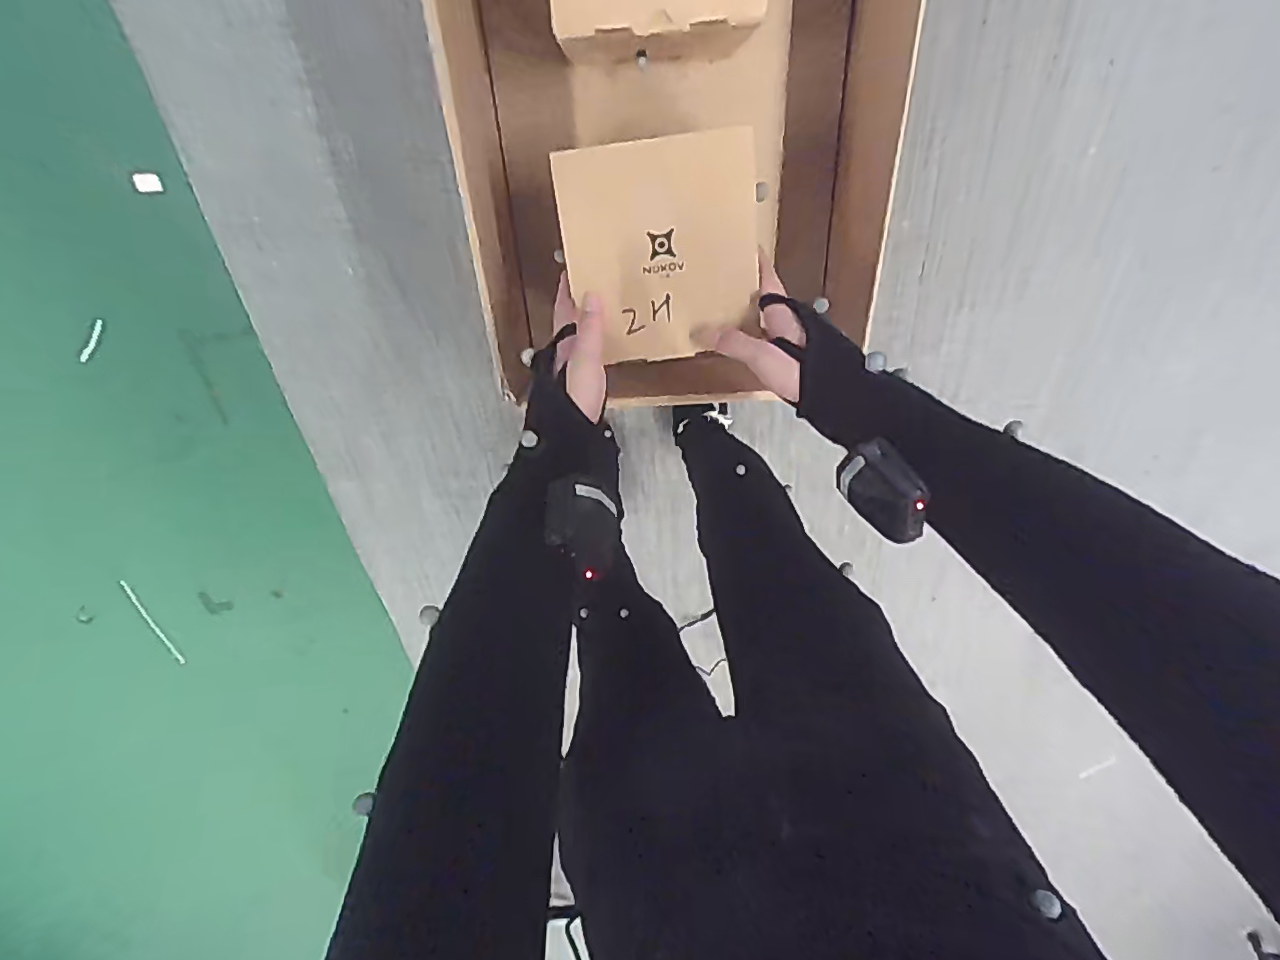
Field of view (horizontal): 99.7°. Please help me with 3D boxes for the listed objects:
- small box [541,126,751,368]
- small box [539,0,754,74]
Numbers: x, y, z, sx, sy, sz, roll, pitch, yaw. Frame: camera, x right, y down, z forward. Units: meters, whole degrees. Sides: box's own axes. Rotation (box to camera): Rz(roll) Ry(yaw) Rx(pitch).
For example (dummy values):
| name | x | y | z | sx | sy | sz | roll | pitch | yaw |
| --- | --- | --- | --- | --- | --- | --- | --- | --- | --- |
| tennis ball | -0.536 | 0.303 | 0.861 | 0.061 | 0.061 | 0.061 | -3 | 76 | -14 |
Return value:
| name | x | y | z | sx | sy | sz | roll | pitch | yaw |
| --- | --- | --- | --- | --- | --- | --- | --- | --- | --- |
| small box | 0.011 | -0.219 | 0.532 | 0.168 | 0.176 | 0.179 | -6 | 112 | 5 |
| small box | -0.002 | -0.458 | 0.443 | 0.168 | 0.176 | 0.179 | -5 | 121 | 1 |
